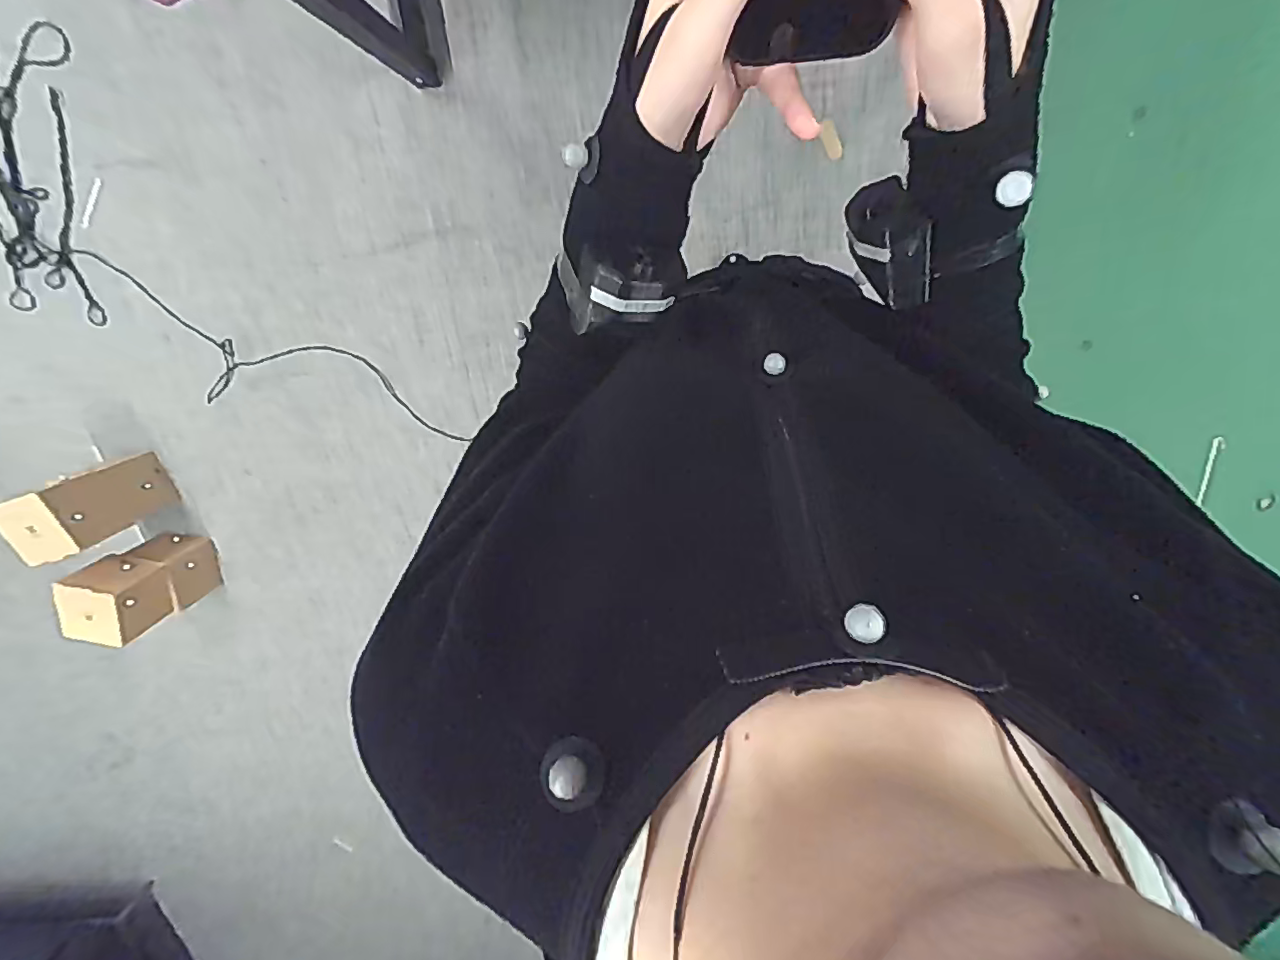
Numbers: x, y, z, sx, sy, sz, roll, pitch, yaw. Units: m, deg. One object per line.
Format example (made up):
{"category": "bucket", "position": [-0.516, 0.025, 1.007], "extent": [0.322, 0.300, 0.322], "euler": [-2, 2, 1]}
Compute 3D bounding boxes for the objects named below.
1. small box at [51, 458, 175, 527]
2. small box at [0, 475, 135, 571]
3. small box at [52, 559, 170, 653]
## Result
{"category": "small box", "position": [-1.519, 0.046, 1.579], "extent": [0.179, 0.176, 0.168], "euler": [-10, 110, 8]}
{"category": "small box", "position": [-1.514, 0.109, 1.429], "extent": [0.168, 0.176, 0.179], "euler": [-15, 110, 8]}
{"category": "small box", "position": [-1.474, 0.351, 1.521], "extent": [0.168, 0.176, 0.179], "euler": [12, 110, -1]}
